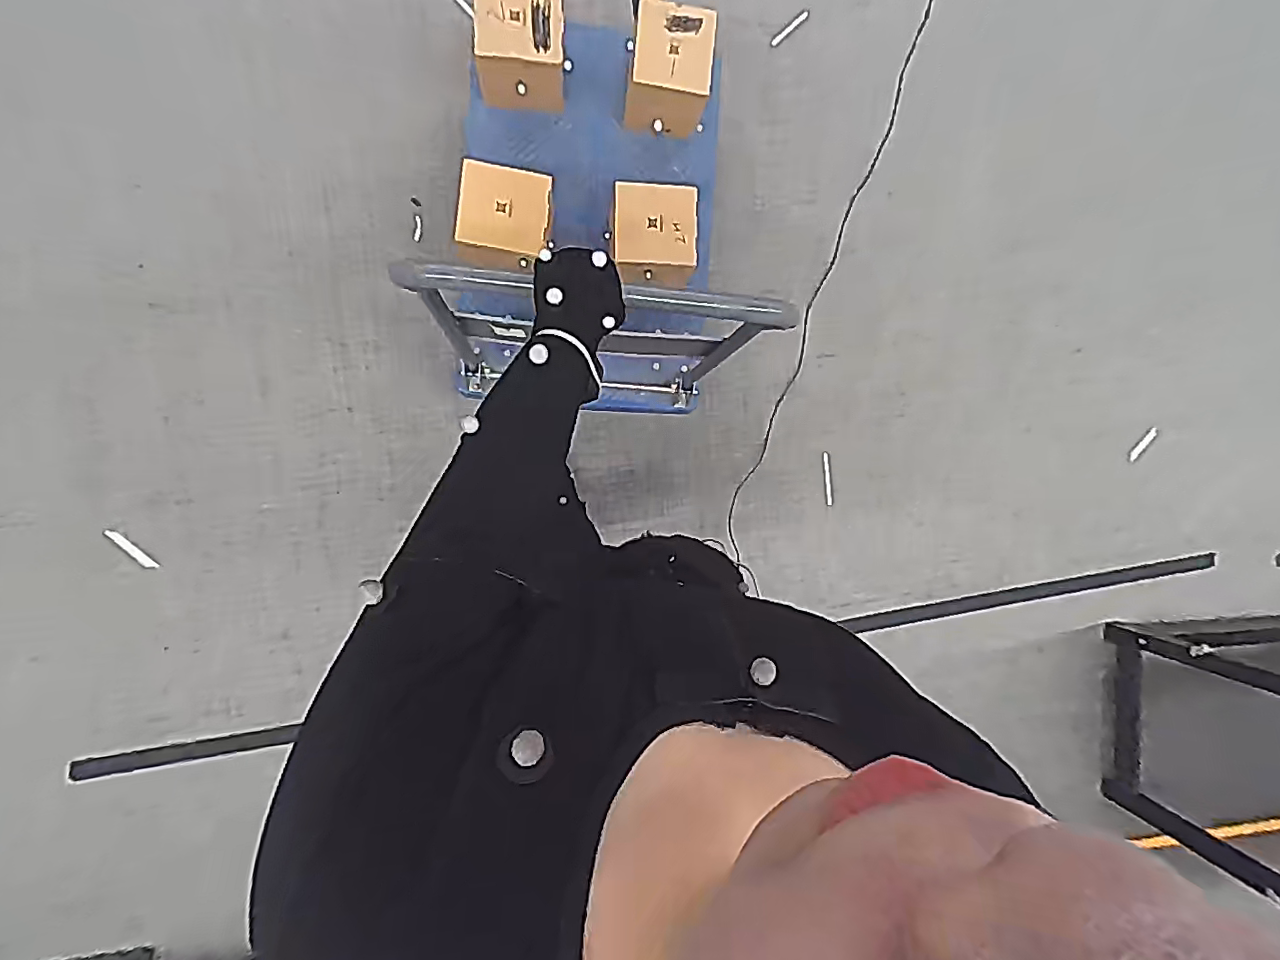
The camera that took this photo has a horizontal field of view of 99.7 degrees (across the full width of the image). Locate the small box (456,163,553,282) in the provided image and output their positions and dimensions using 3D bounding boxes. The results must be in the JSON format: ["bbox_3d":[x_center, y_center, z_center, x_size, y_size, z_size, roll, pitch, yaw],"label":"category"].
[{"bbox_3d":[-0.284,-0.541,1.161,0.179,0.176,0.168,6,91,-10],"label":"small box"}]

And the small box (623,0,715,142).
[{"bbox_3d":[0.058,-0.897,1.199,0.168,0.176,0.179,5,92,-9],"label":"small box"}]

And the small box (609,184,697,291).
[{"bbox_3d":[0.022,-0.532,1.205,0.179,0.176,0.168,0,92,-8],"label":"small box"}]
